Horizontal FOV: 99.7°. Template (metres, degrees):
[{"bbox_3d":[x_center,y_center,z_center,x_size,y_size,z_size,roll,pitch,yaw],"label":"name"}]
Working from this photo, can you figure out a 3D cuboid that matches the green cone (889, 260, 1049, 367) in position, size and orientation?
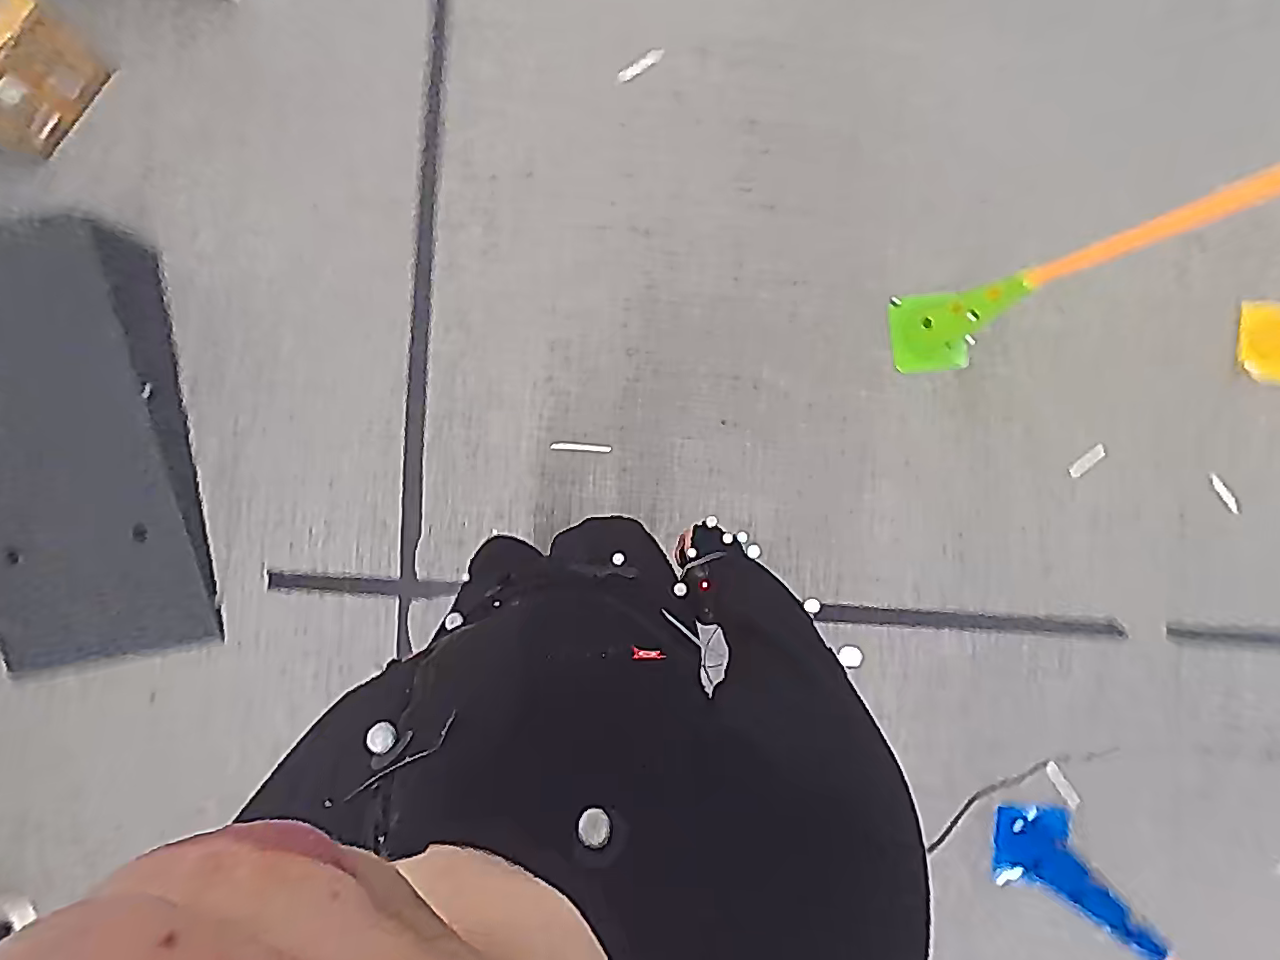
[{"bbox_3d":[0.773,-0.407,1.248,0.202,0.368,0.200,-8,89,-5],"label":"green cone"}]

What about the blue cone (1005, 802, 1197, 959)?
[{"bbox_3d":[1.051,0.929,1.240,0.192,0.380,0.193,6,88,-3],"label":"blue cone"}]
